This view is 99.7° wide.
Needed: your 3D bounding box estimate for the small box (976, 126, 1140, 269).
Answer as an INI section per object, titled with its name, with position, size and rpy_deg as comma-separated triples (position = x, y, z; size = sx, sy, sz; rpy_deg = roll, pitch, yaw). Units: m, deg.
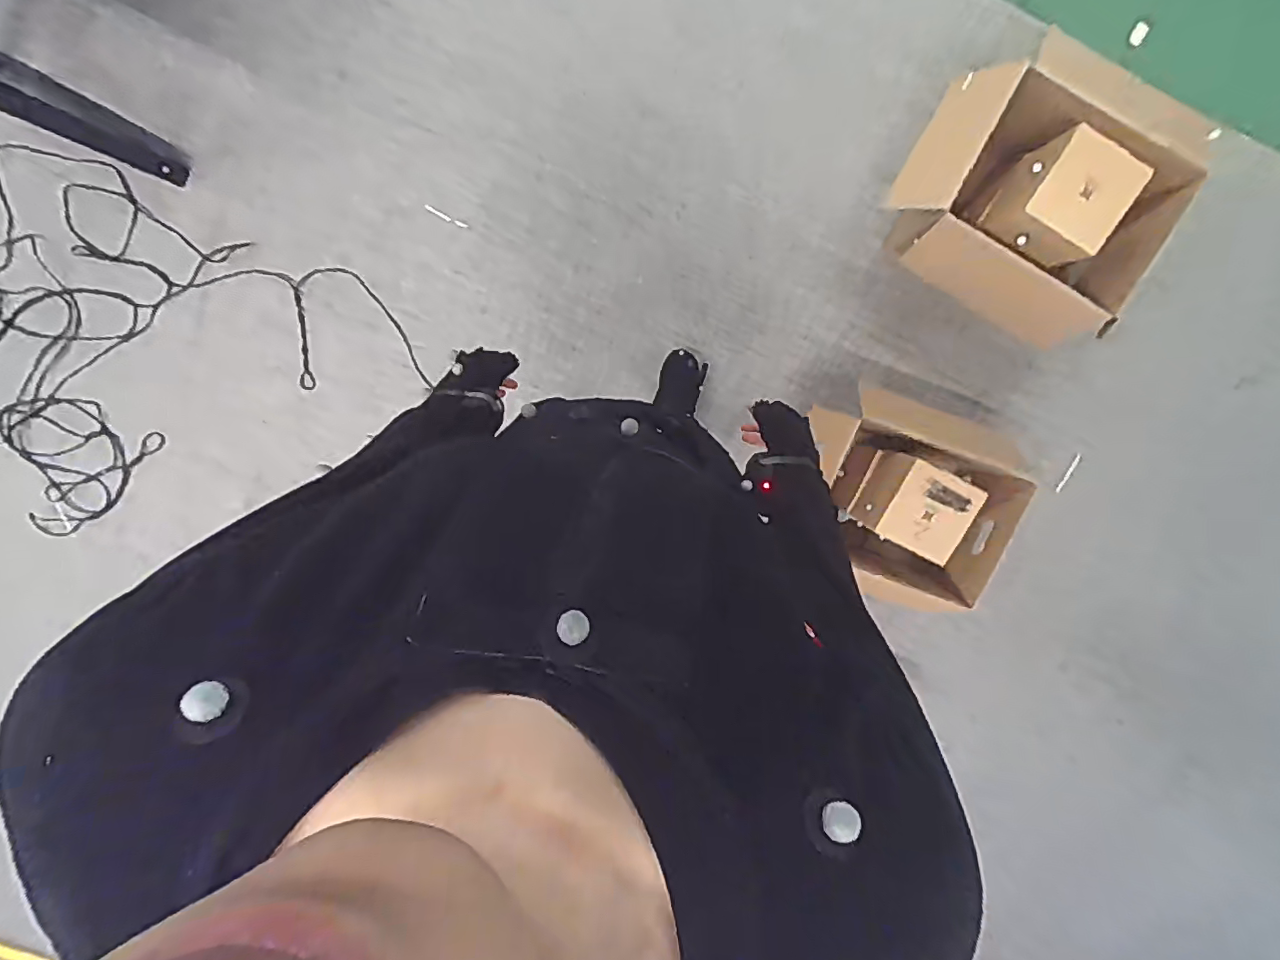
[small box]
position = 0.829, -0.559, 1.099
size = 0.168, 0.176, 0.179
rpy_deg = 30, 99, -4
